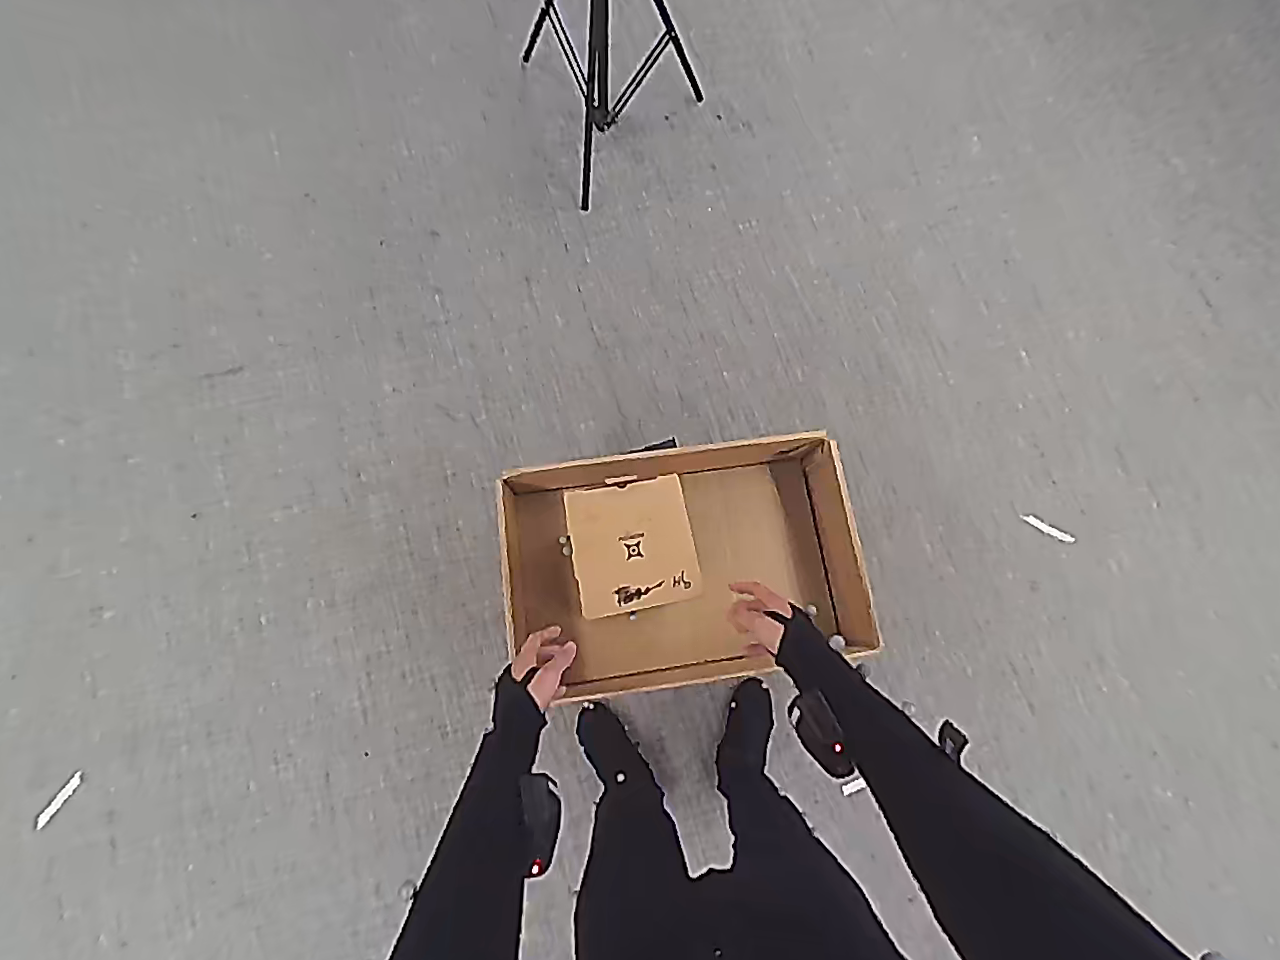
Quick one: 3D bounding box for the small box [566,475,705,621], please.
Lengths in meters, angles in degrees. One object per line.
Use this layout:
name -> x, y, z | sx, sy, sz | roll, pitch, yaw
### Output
small box -> -0.016, 0.108, 0.804 | 0.168, 0.176, 0.179 | -10, 76, -8
